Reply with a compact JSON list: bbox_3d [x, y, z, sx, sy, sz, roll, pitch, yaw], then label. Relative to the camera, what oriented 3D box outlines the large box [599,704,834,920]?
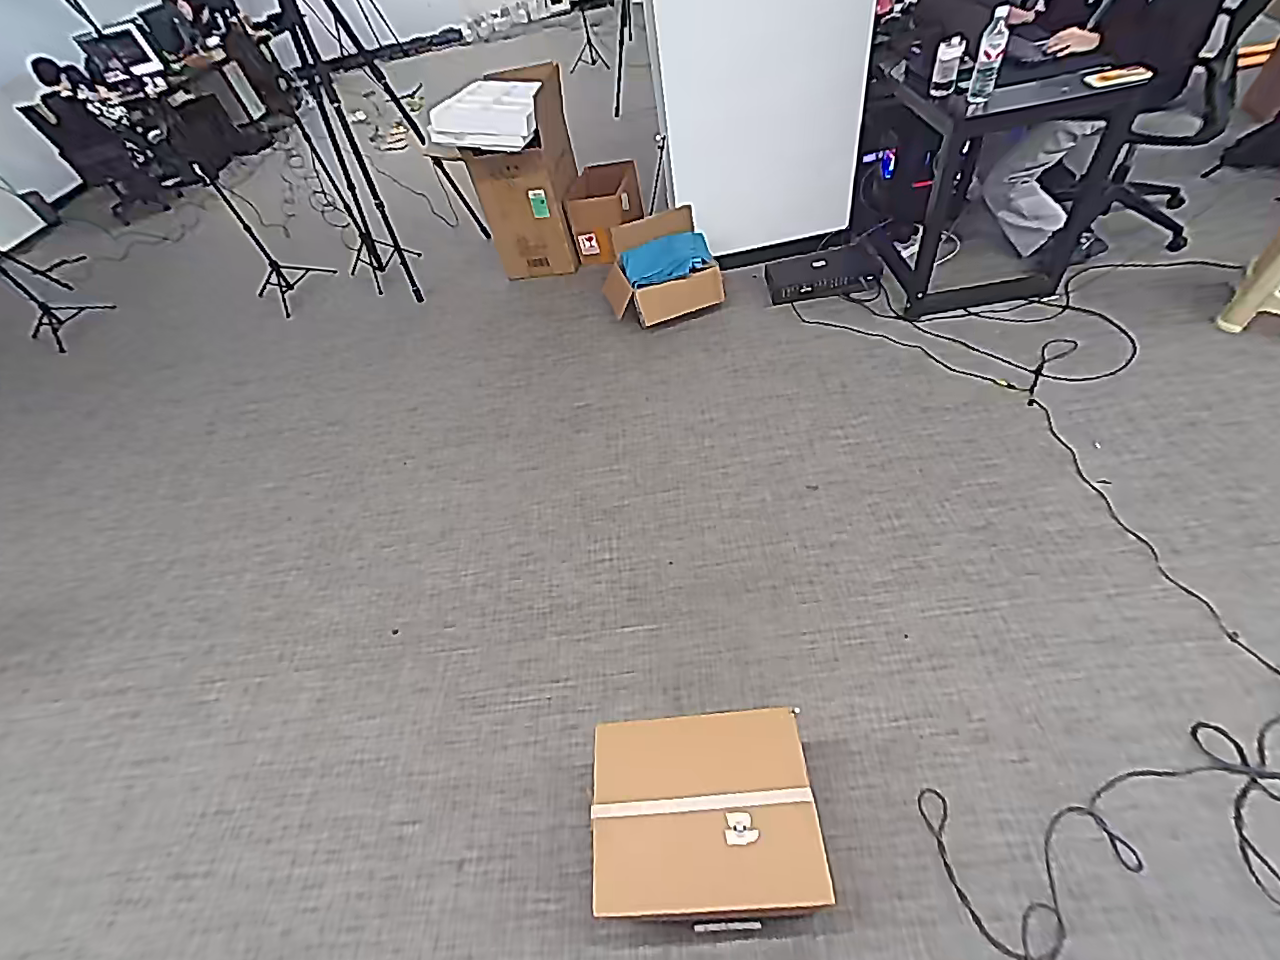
[{"bbox_3d":[0.140,0.687,1.109,0.408,0.320,0.320,-7,49,5],"label":"large box"}]
